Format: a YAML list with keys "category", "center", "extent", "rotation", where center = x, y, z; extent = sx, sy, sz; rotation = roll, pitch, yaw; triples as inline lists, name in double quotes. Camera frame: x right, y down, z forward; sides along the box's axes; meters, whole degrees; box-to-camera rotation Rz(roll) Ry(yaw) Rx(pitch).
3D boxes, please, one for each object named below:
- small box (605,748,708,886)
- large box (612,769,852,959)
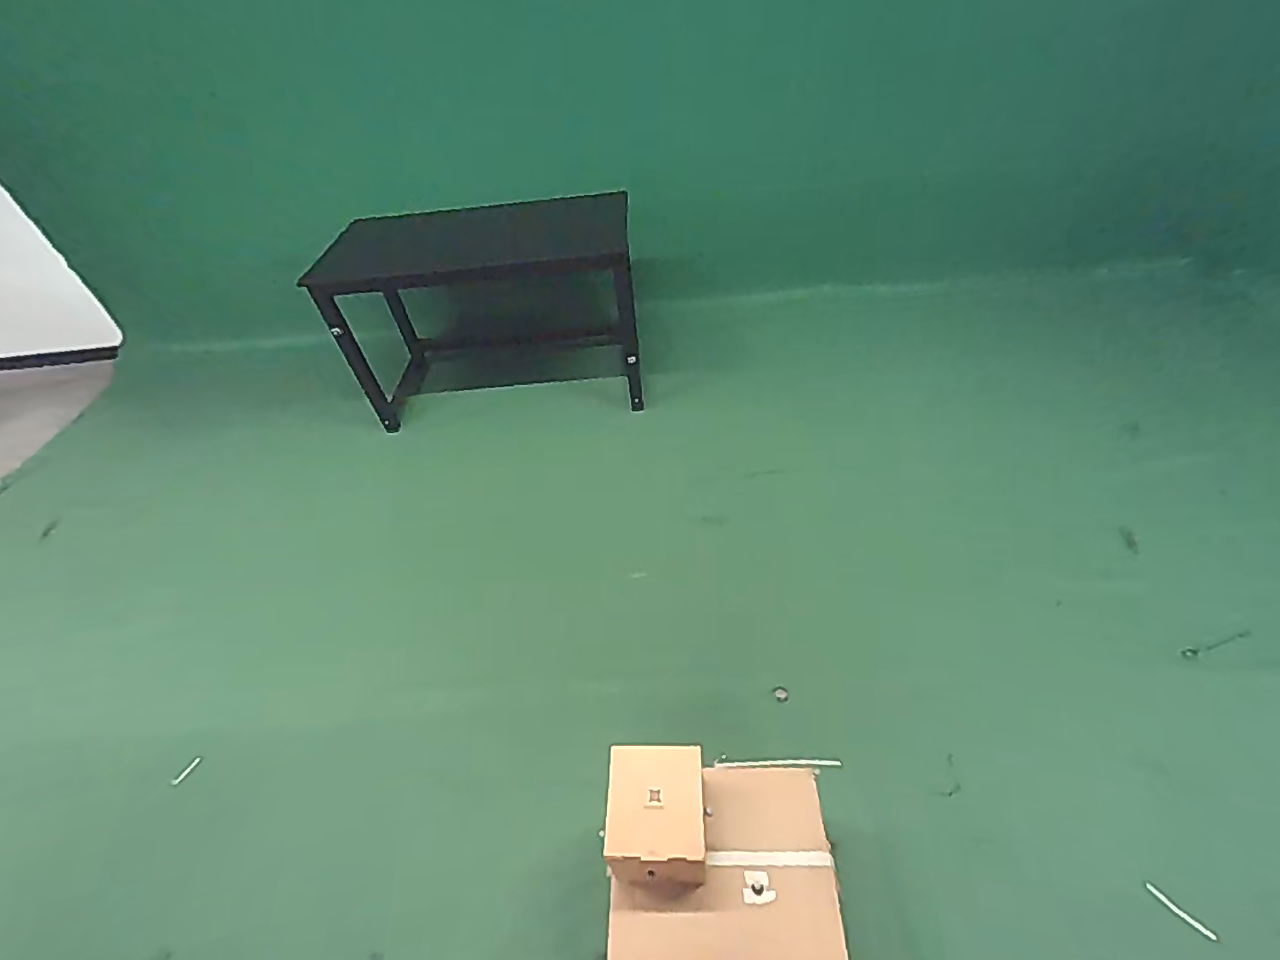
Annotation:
- category: "small box"
  center: [0.035, 0.602, 0.970]
  extent: [0.168, 0.176, 0.179]
  rotation: [-2, 45, 5]
- category: "large box"
  center: [0.163, 0.804, 1.094]
  extent: [0.408, 0.320, 0.320]
  rotation: [-2, 45, 5]
